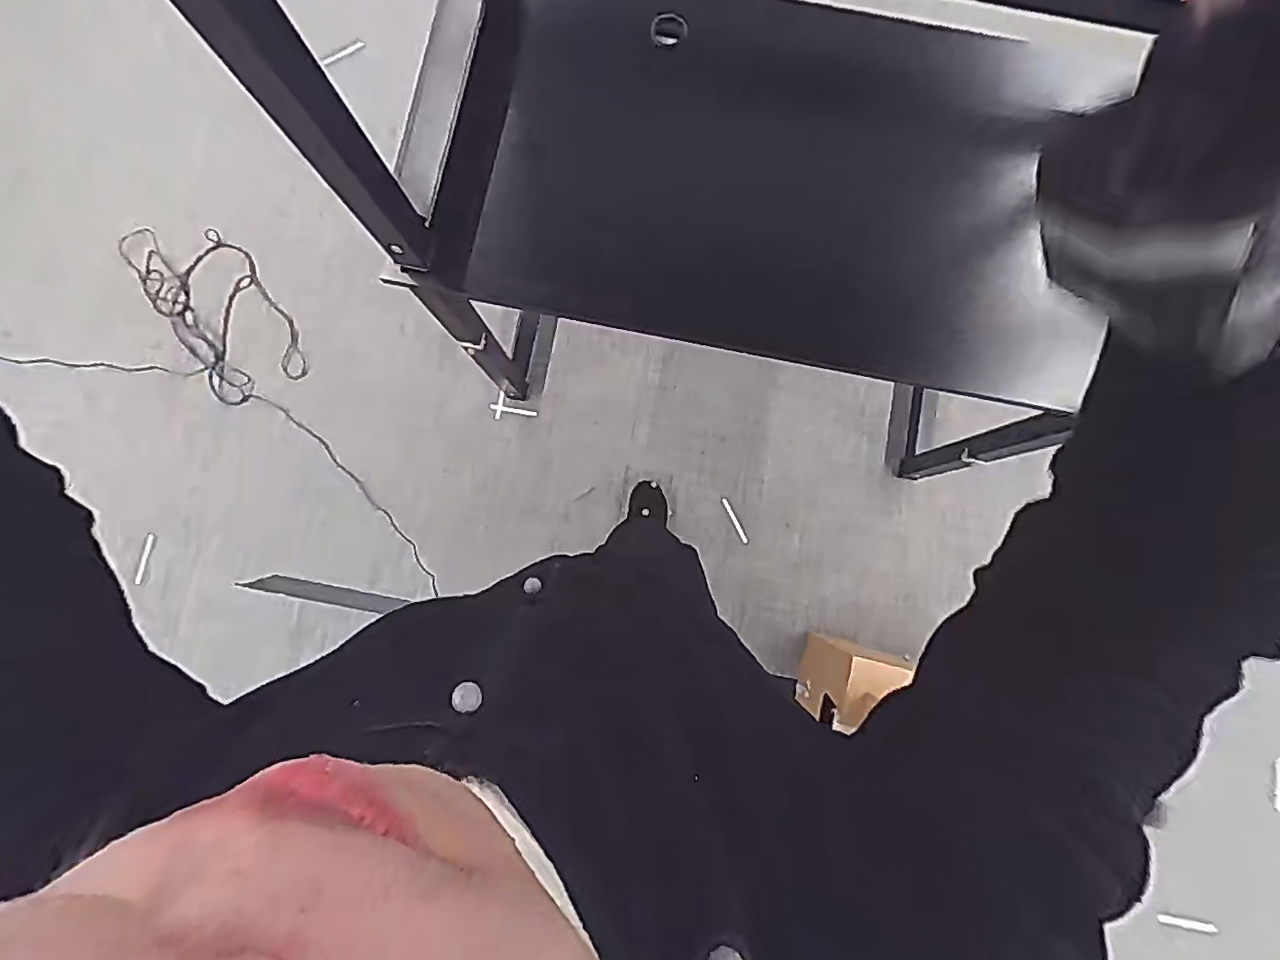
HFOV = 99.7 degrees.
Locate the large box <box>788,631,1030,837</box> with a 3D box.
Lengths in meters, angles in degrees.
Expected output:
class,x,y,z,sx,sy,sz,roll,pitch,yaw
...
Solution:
class,x,y,z,sx,sy,sz,roll,pitch,yaw
large box,0.616,0.580,1.306,0.408,0.320,0.320,14,85,0
